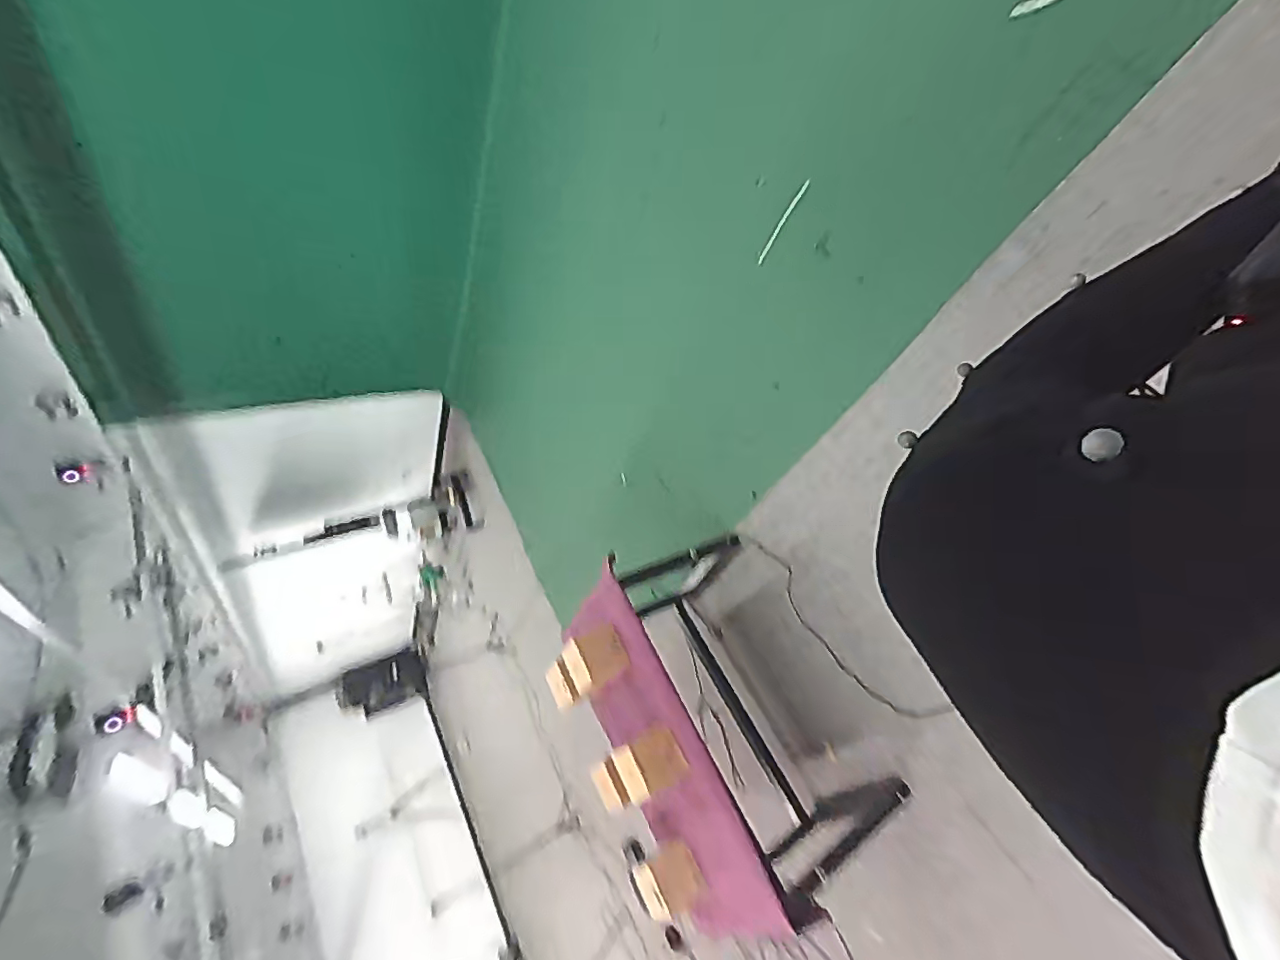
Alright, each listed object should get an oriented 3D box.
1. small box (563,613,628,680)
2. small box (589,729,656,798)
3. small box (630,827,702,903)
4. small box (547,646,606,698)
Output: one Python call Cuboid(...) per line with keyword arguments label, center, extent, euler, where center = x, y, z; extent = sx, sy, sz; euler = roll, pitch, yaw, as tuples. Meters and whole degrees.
Cuboid(label="small box", center=(-0.166, 0.625, 2.033), extent=(0.168, 0.176, 0.179), euler=(60, 144, 21))
Cuboid(label="small box", center=(-0.066, 1.083, 2.067), extent=(0.168, 0.176, 0.179), euler=(59, 142, 22))
Cuboid(label="small box", center=(0.098, 1.370, 1.929), extent=(0.168, 0.176, 0.179), euler=(60, 143, 24))
Cuboid(label="small box", center=(-0.261, 0.770, 2.230), extent=(0.168, 0.176, 0.179), euler=(59, 142, 22))
